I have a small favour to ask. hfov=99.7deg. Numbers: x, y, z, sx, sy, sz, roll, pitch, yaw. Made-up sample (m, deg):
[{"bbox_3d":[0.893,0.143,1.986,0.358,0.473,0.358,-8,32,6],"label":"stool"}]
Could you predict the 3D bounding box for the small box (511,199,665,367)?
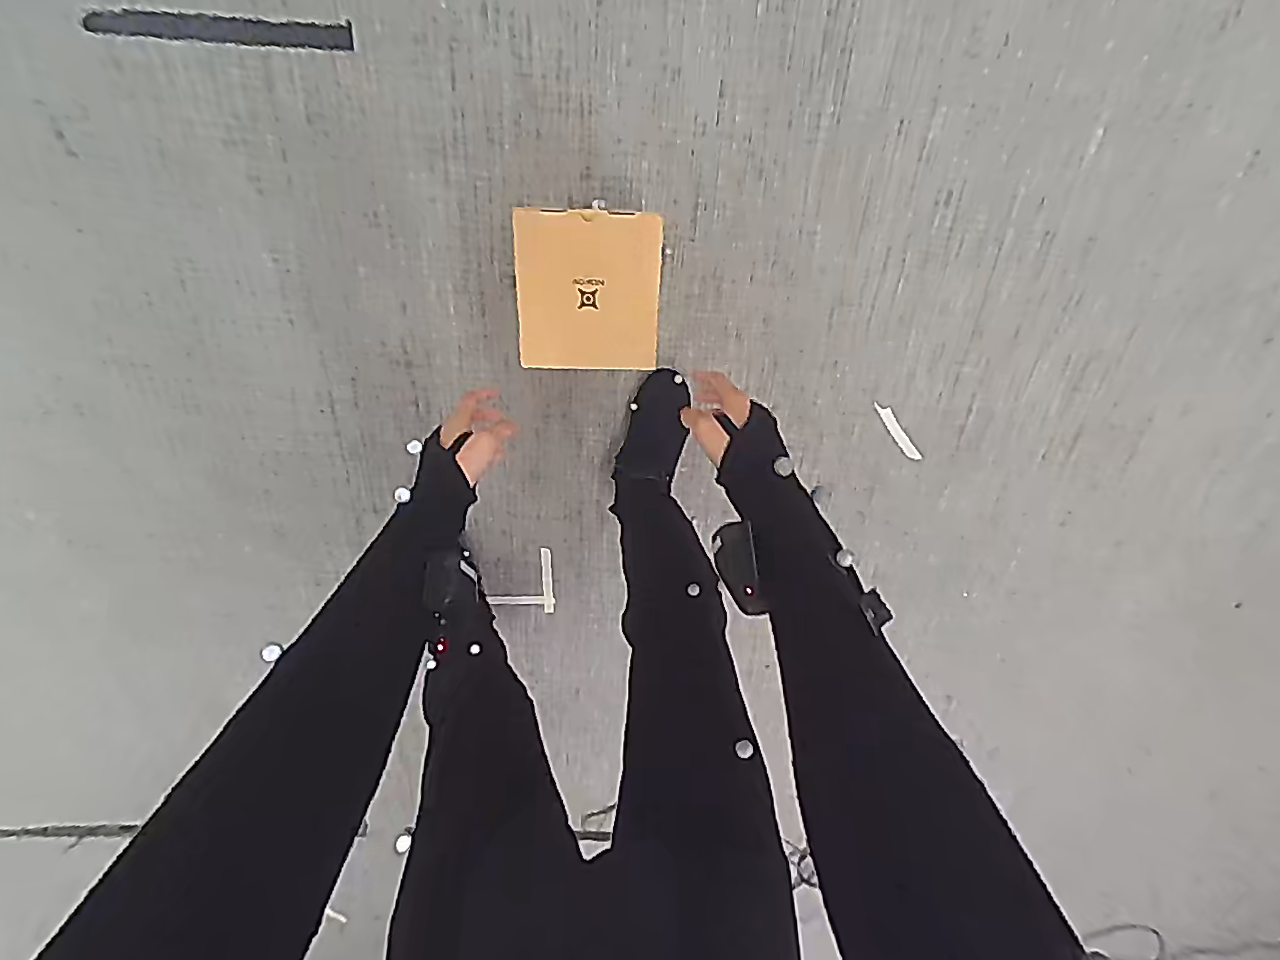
[{"bbox_3d":[-0.061,-0.249,0.677,0.168,0.176,0.179,0,115,-3],"label":"small box"}]
